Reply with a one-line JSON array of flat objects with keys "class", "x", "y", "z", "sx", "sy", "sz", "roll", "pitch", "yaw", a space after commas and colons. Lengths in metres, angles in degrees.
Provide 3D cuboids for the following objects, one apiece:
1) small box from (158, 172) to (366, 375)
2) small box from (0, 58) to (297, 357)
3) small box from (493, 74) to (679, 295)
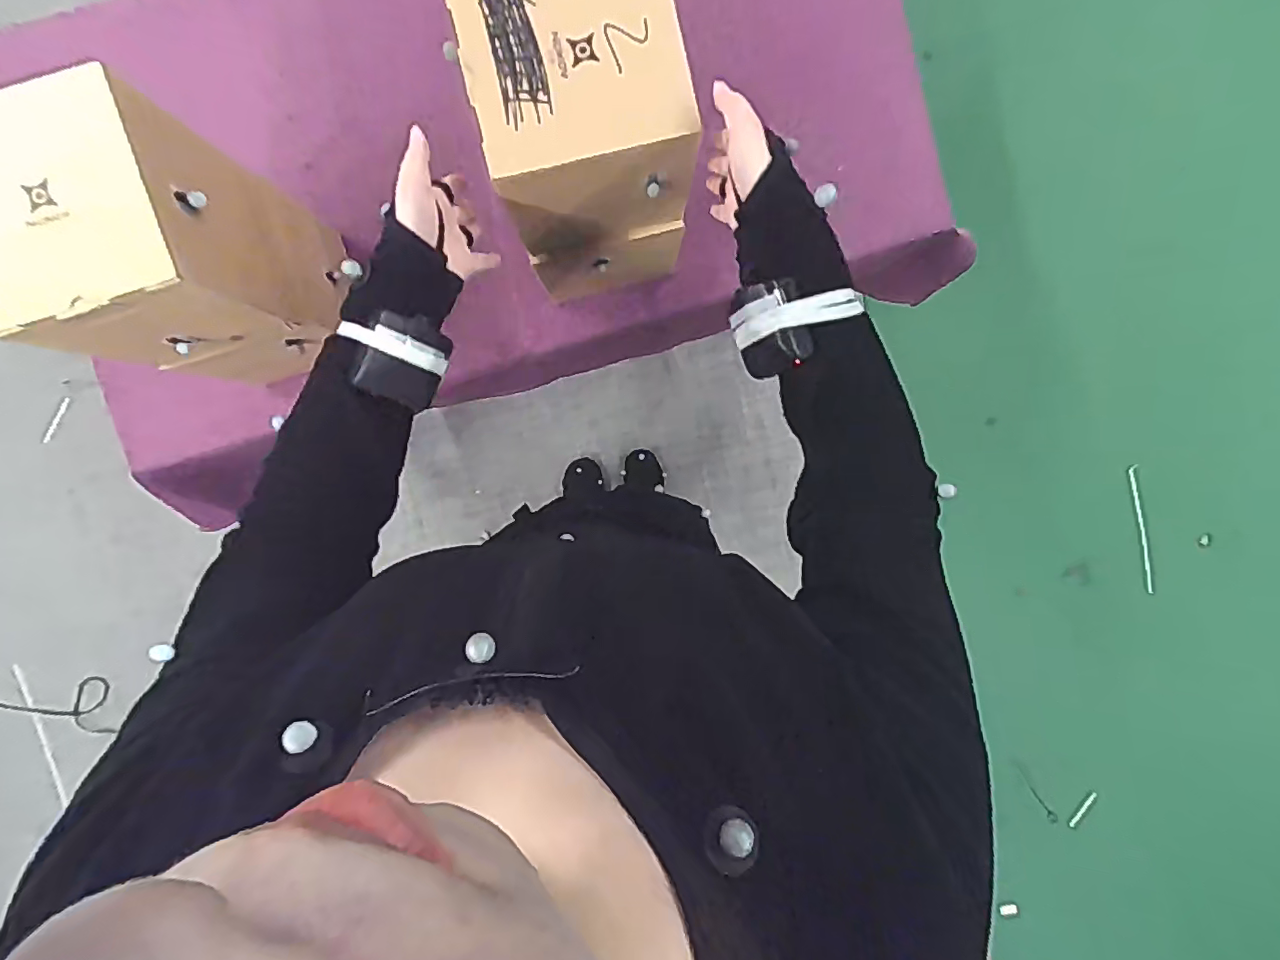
[{"class": "small box", "x": -0.469, "y": -0.239, "z": 0.669, "sx": 0.179, "sy": 0.176, "sz": 0.168, "roll": -17, "pitch": 94, "yaw": 0}, {"class": "small box", "x": -0.470, "y": -0.231, "z": 0.505, "sx": 0.168, "sy": 0.176, "sz": 0.179, "roll": -17, "pitch": 95, "yaw": 0}, {"class": "small box", "x": -0.059, "y": -0.345, "z": 0.669, "sx": 0.179, "sy": 0.176, "sz": 0.168, "roll": -14, "pitch": 95, "yaw": 0}]
